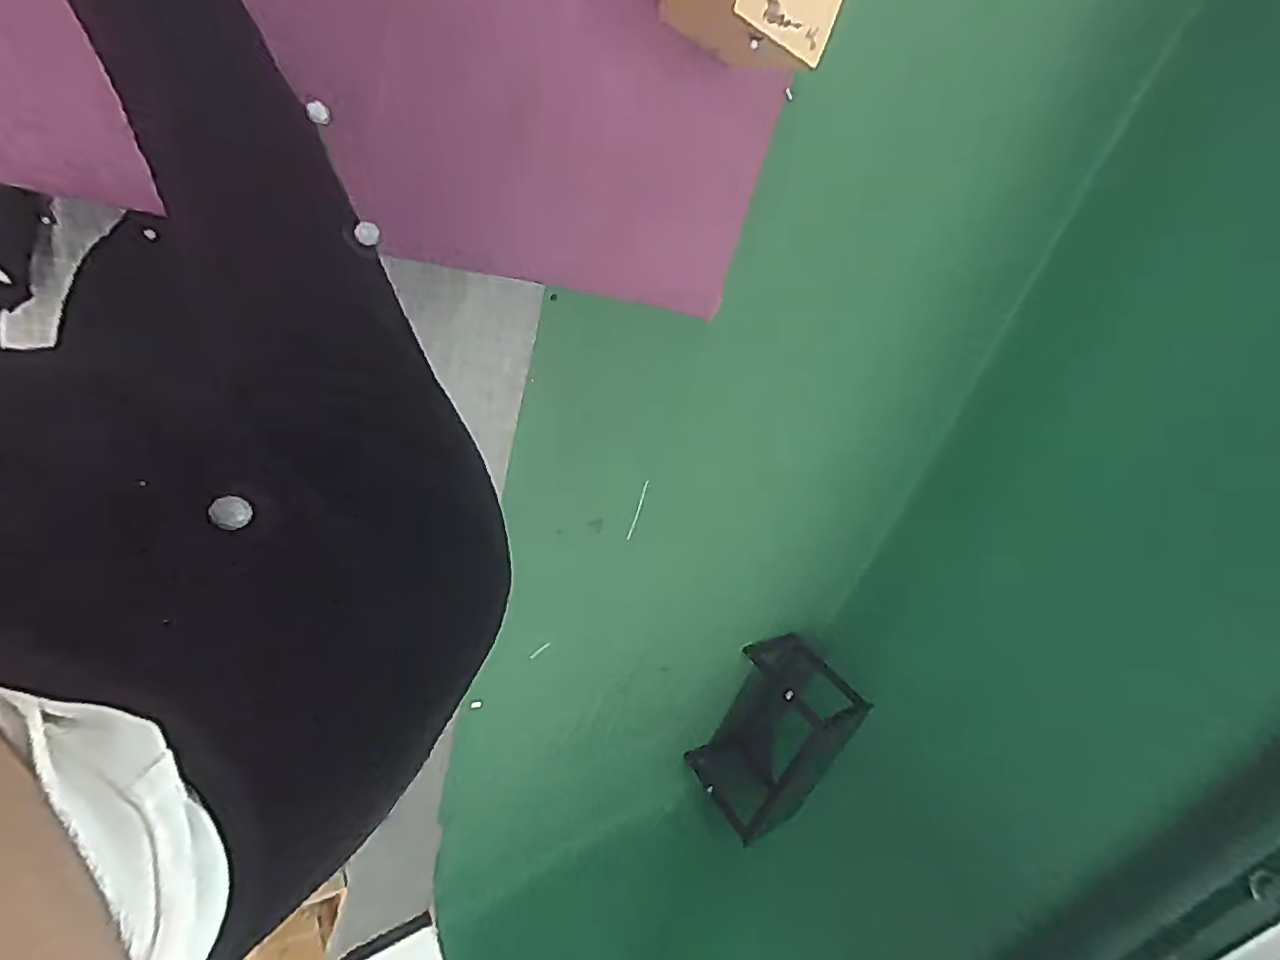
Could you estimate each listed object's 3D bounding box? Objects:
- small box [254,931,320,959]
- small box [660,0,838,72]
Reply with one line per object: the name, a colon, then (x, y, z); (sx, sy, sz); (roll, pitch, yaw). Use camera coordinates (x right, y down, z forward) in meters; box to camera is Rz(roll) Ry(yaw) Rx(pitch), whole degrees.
small box: (-1.066, 1.516, 1.620); (0.168, 0.176, 0.179); (6, 117, -42)
small box: (0.150, -0.667, 0.703); (0.168, 0.176, 0.179); (-2, 122, -37)
